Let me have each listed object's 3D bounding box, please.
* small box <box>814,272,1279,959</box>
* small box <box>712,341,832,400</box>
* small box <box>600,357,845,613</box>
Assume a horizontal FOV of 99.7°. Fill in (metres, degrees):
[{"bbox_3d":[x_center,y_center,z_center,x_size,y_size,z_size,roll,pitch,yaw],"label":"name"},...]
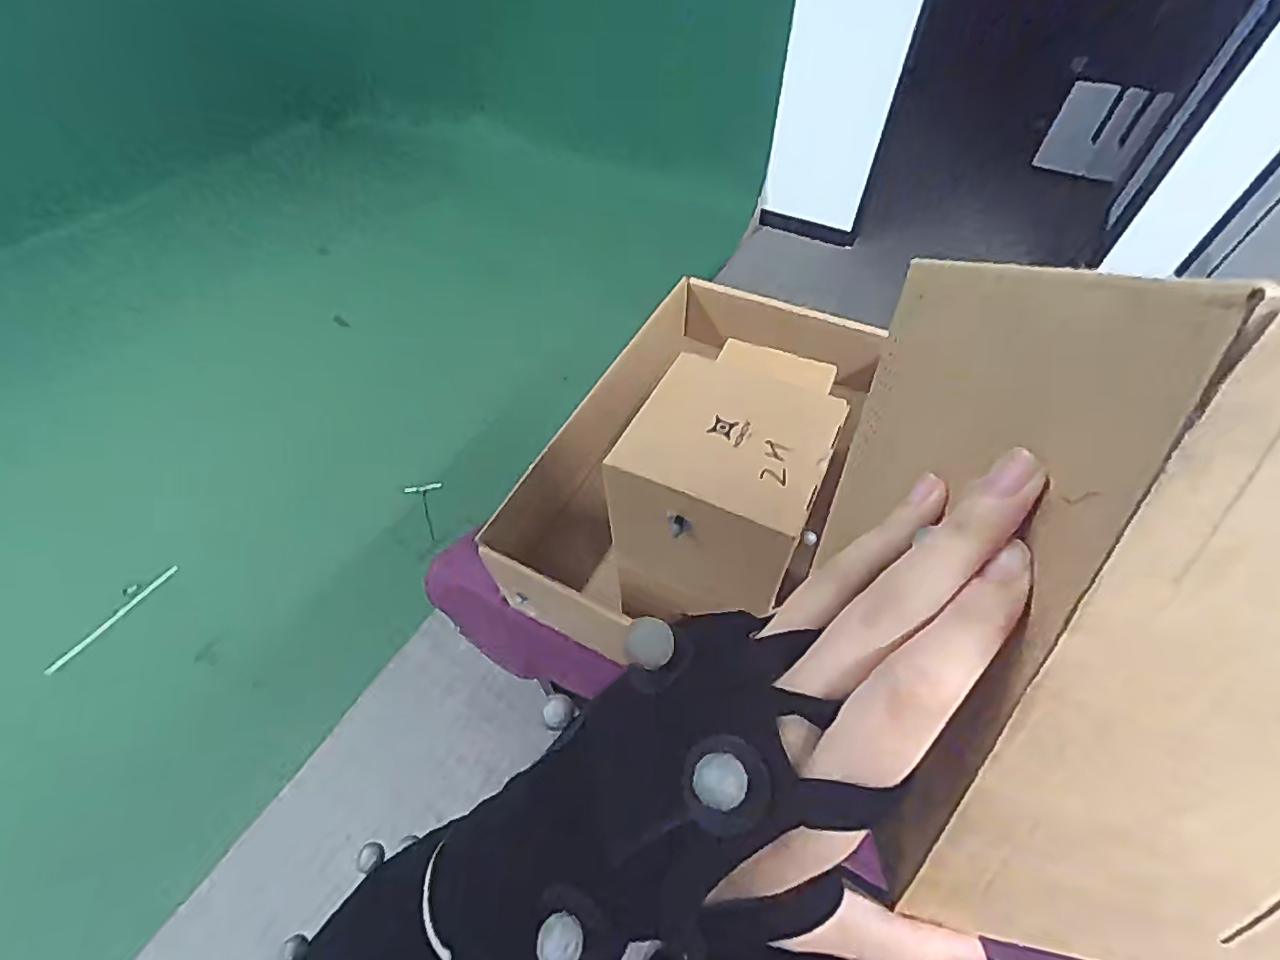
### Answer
[{"bbox_3d":[0.173,0.030,0.193,0.168,0.179,0.176,11,25,4],"label":"small box"},{"bbox_3d":[0.170,-0.074,0.815,0.168,0.176,0.179,19,57,16],"label":"small box"},{"bbox_3d":[0.079,0.009,0.550,0.179,0.176,0.168,22,58,18],"label":"small box"}]
